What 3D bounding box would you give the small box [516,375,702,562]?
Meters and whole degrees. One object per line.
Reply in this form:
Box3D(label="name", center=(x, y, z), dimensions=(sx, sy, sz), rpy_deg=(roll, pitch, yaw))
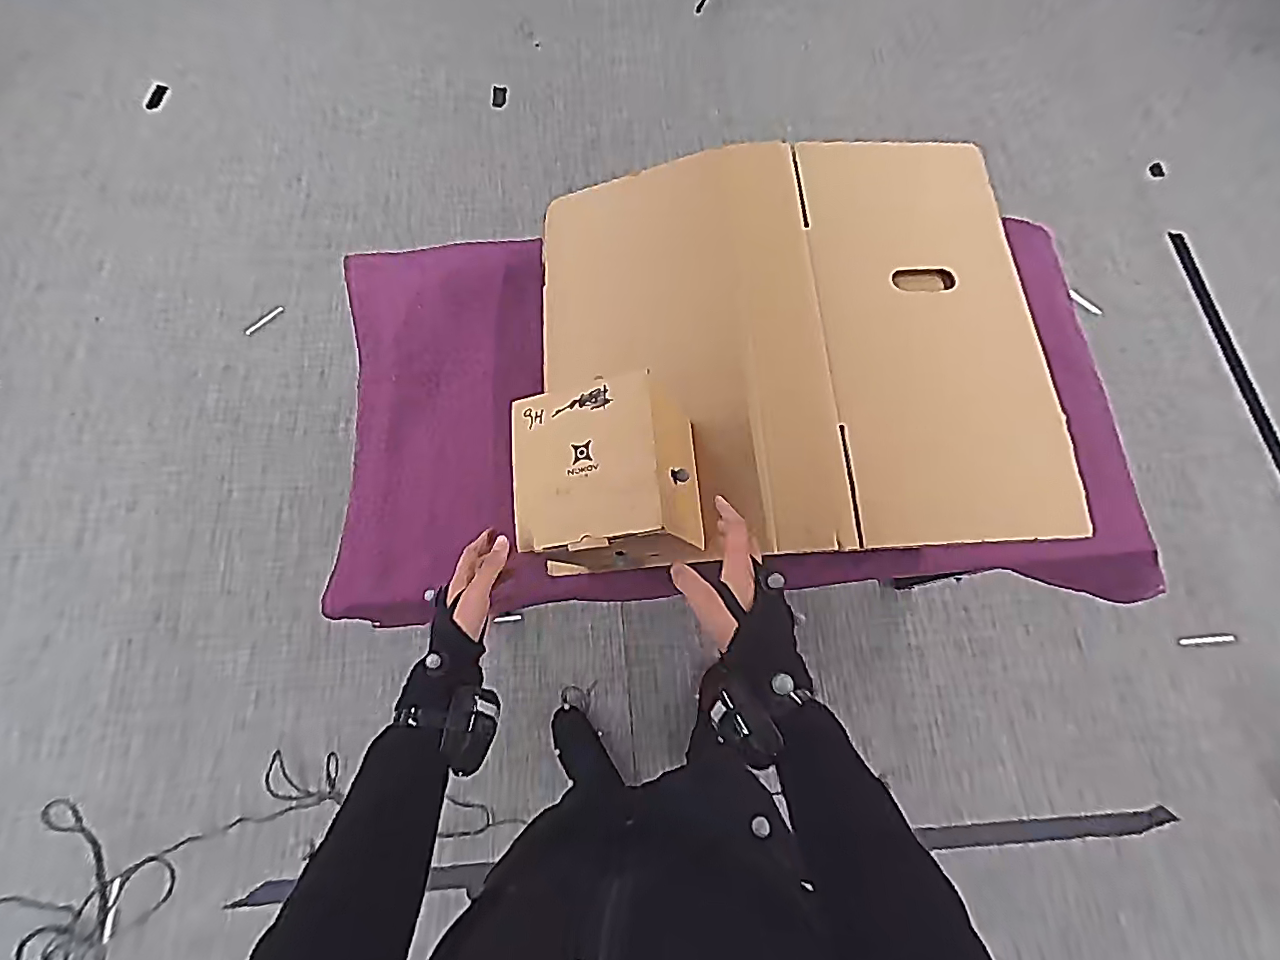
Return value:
Box3D(label="small box", center=(-0.030, 0.001, 0.641), dimensions=(0.168, 0.176, 0.179), rpy_deg=(-10, 74, 19))
